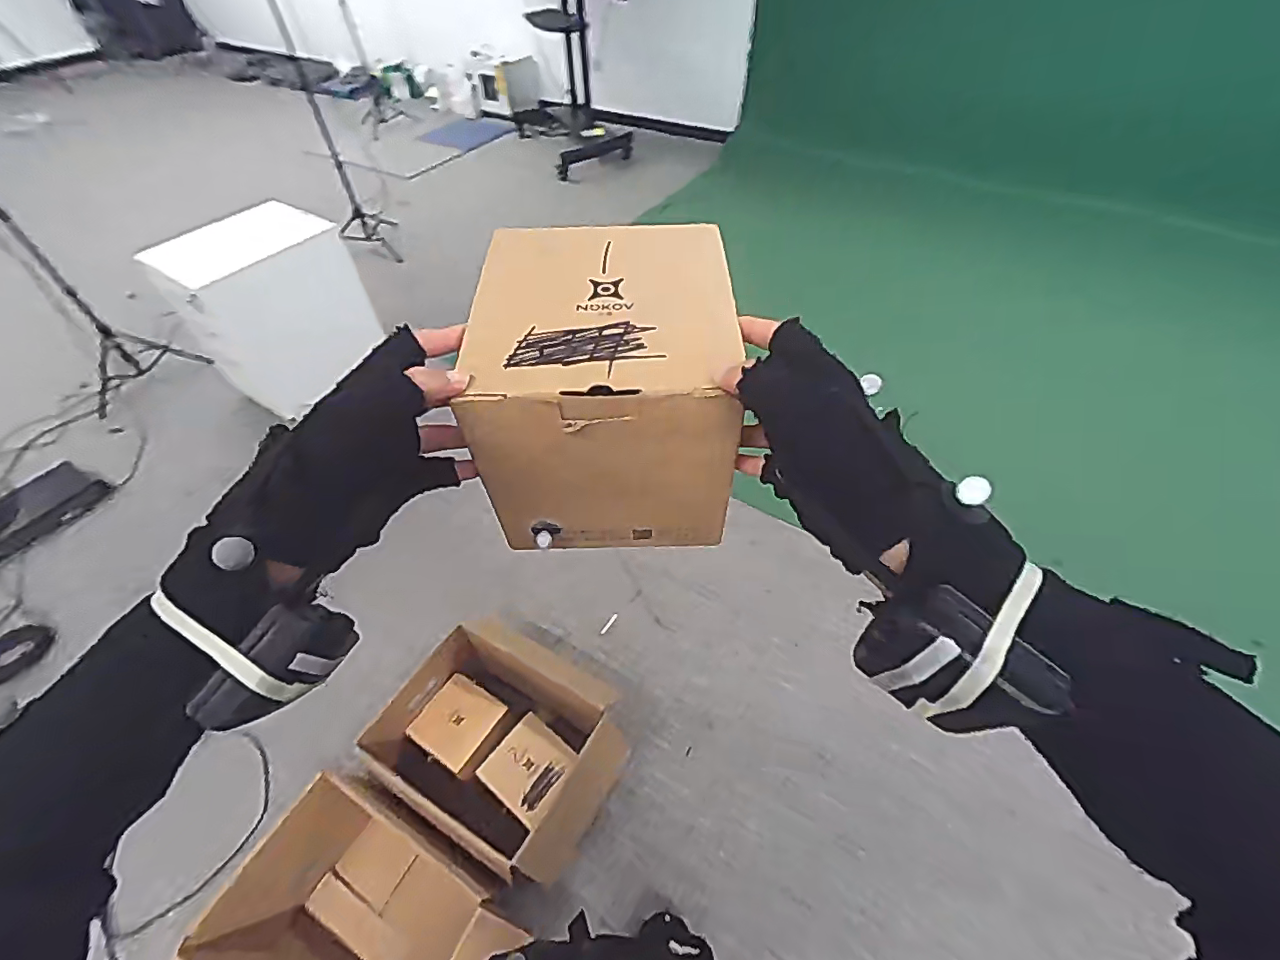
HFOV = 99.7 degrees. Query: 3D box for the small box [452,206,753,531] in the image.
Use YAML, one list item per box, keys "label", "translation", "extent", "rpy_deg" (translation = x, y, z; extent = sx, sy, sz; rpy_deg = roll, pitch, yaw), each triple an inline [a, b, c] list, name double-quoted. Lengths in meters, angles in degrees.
- label: "small box"
  translation: [-0.018, -0.073, 0.398]
  extent: [0.168, 0.176, 0.179]
  rpy_deg: [-1, 53, 1]
